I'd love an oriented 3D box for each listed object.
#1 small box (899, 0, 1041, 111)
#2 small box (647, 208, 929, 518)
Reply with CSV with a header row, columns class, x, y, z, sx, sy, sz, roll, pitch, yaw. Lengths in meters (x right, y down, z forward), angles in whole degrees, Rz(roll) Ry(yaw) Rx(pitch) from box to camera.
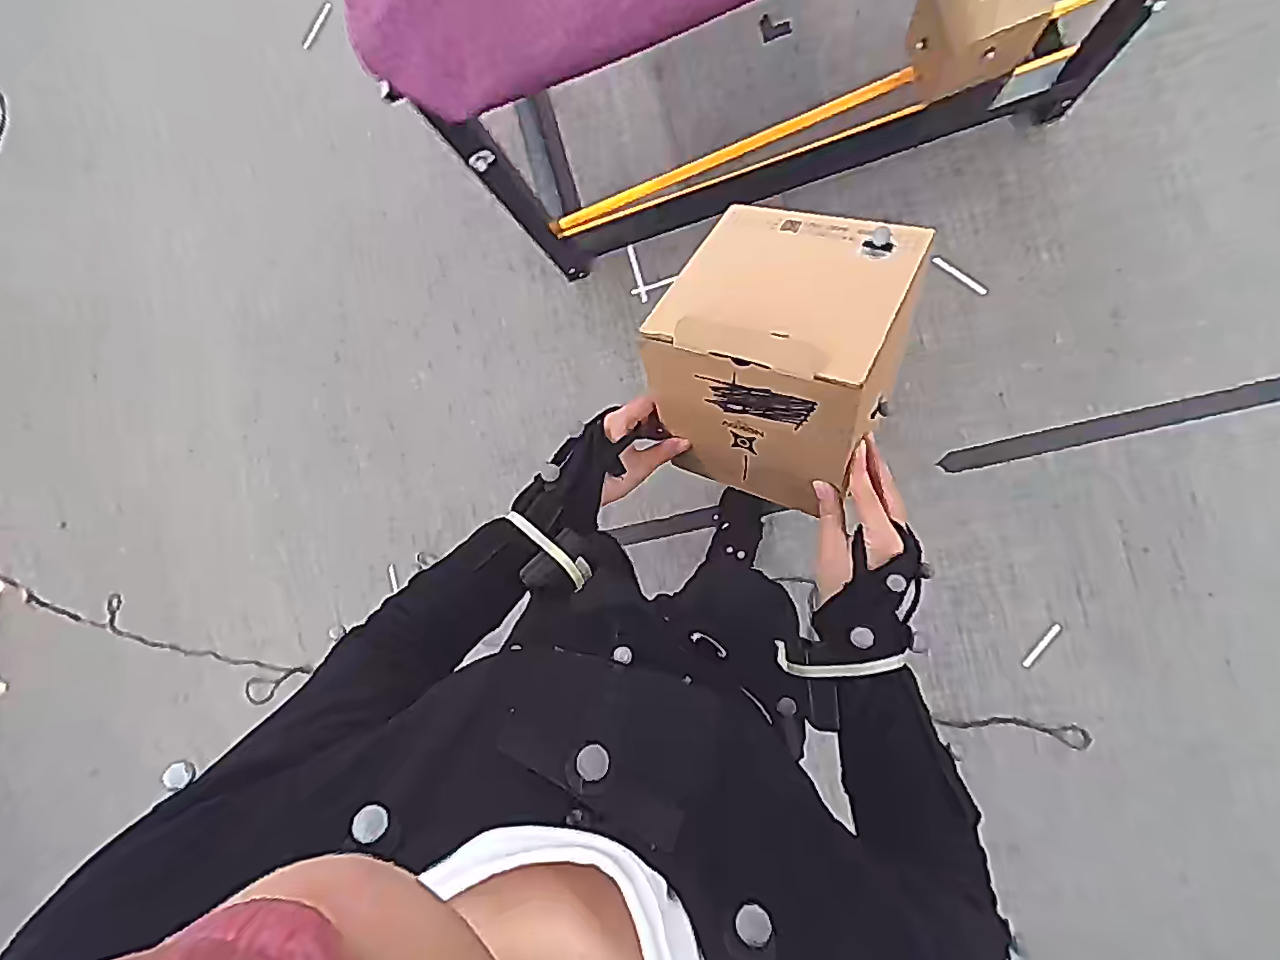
class,x,y,z,sx,sy,sz,roll,pitch,yaw
small box,0.632,-0.879,1.064,0.179,0.176,0.168,-16,88,10
small box,0.127,-0.102,0.465,0.168,0.179,0.176,22,64,24
